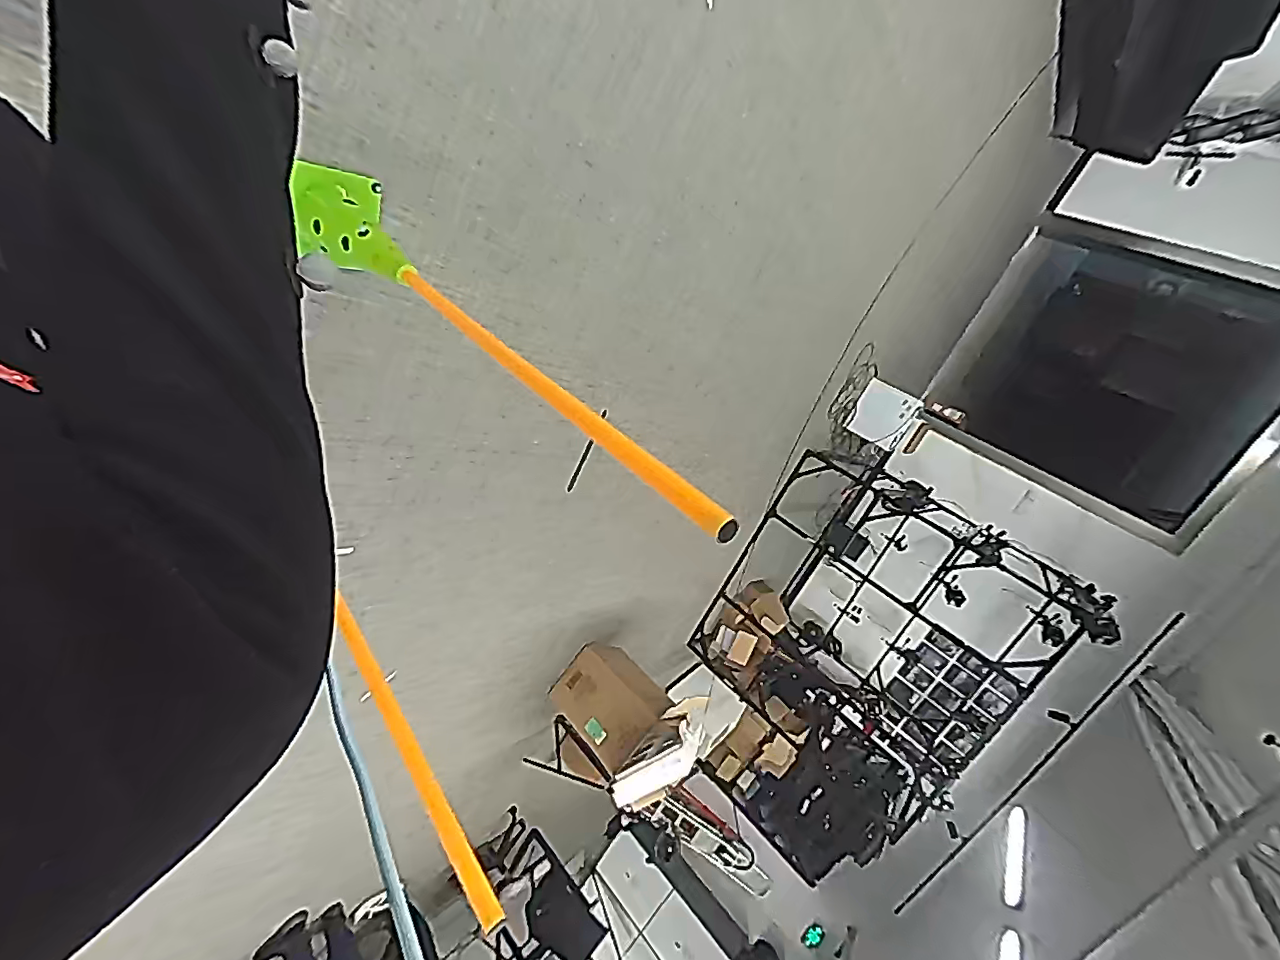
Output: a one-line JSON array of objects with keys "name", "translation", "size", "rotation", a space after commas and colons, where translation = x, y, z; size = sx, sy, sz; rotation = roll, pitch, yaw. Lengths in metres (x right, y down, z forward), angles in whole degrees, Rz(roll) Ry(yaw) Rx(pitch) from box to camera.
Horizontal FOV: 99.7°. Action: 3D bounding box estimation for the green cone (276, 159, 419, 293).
[{"name": "green cone", "translation": [-0.544, -0.461, 1.065], "size": [0.200, 0.368, 0.202], "rotation": [-14, 134, -47]}]
